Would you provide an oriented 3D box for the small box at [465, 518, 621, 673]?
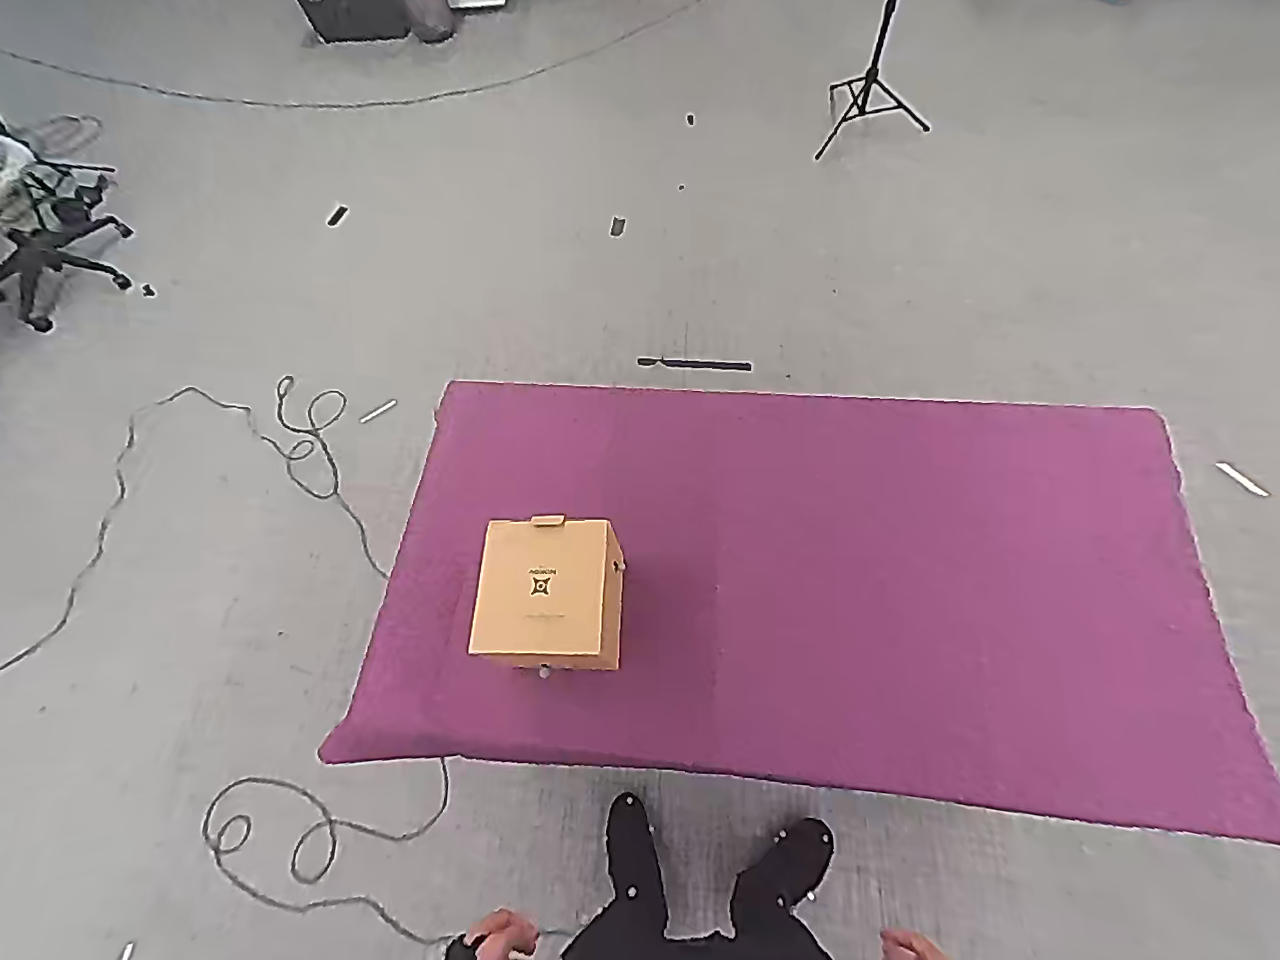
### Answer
[{"bbox_3d":[-0.120,0.164,0.751,0.168,0.176,0.179,0,65,6],"label":"small box"}]
